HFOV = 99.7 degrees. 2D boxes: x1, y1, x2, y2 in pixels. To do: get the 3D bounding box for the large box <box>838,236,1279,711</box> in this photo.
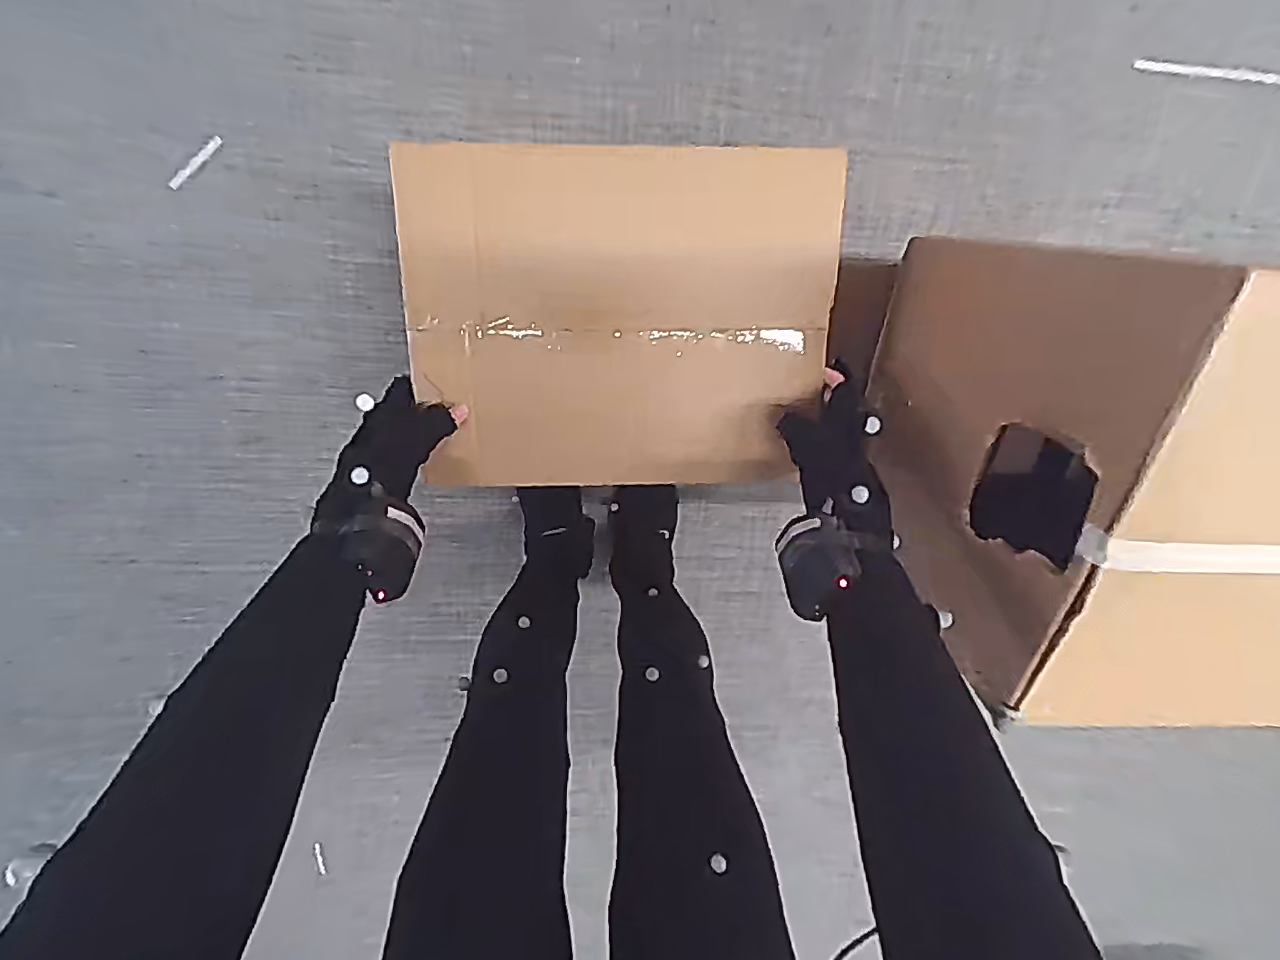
[{"bbox_3d":[0.451,-0.030,0.472,0.408,0.320,0.320,2,116,-4],"label":"large box"}]
